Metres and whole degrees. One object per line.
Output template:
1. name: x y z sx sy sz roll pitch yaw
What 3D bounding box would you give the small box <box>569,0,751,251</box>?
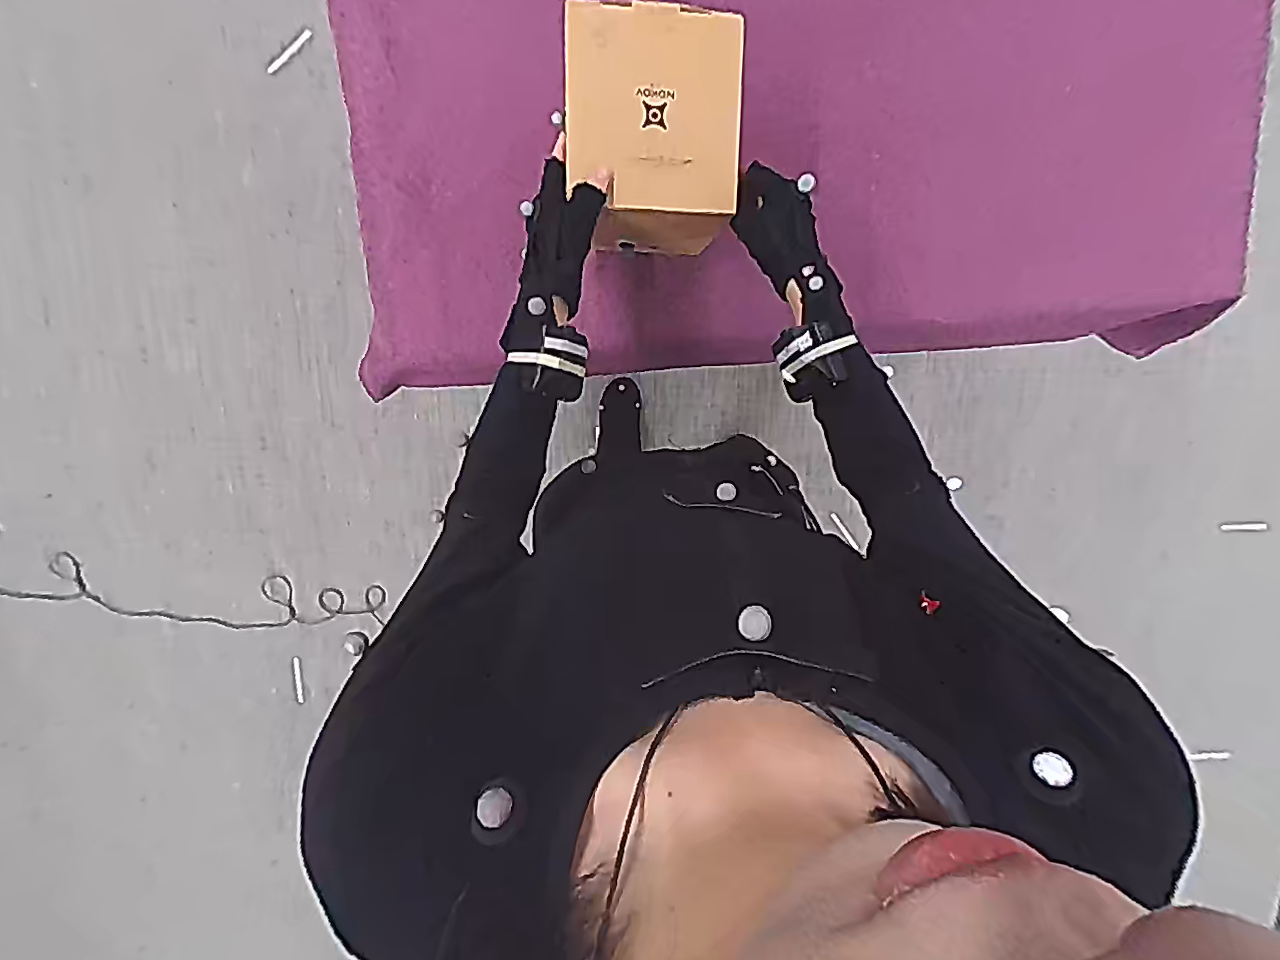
1. small box: 0.009 -0.356 0.570 0.168 0.176 0.179 0 101 -6
